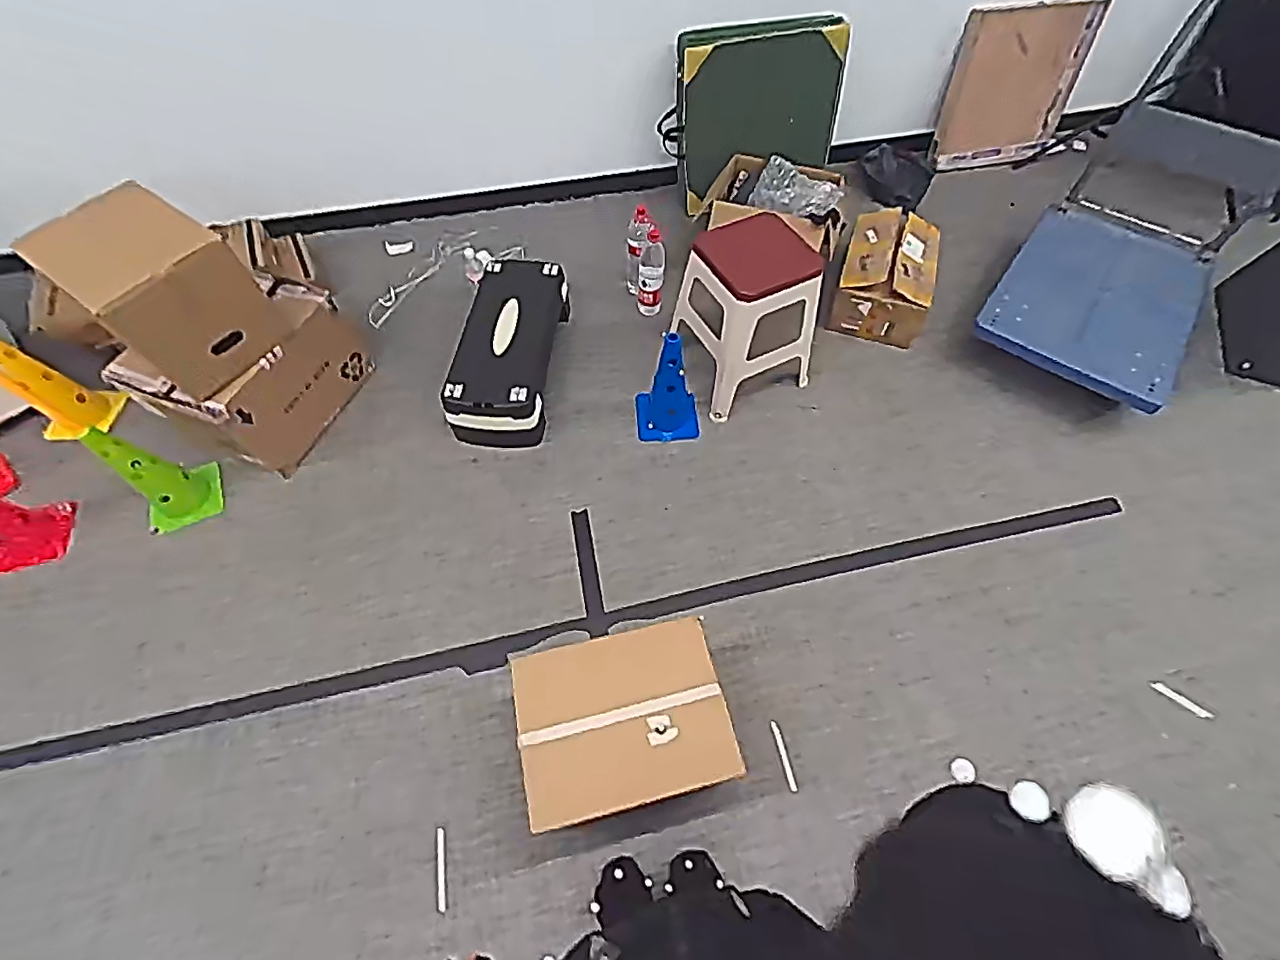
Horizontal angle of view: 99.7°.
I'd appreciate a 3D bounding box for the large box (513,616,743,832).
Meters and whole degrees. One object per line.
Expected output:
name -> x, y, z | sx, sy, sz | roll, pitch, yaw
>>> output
large box -> -0.037, 0.537, 1.186 | 0.408, 0.320, 0.320 | -11, 60, -8
